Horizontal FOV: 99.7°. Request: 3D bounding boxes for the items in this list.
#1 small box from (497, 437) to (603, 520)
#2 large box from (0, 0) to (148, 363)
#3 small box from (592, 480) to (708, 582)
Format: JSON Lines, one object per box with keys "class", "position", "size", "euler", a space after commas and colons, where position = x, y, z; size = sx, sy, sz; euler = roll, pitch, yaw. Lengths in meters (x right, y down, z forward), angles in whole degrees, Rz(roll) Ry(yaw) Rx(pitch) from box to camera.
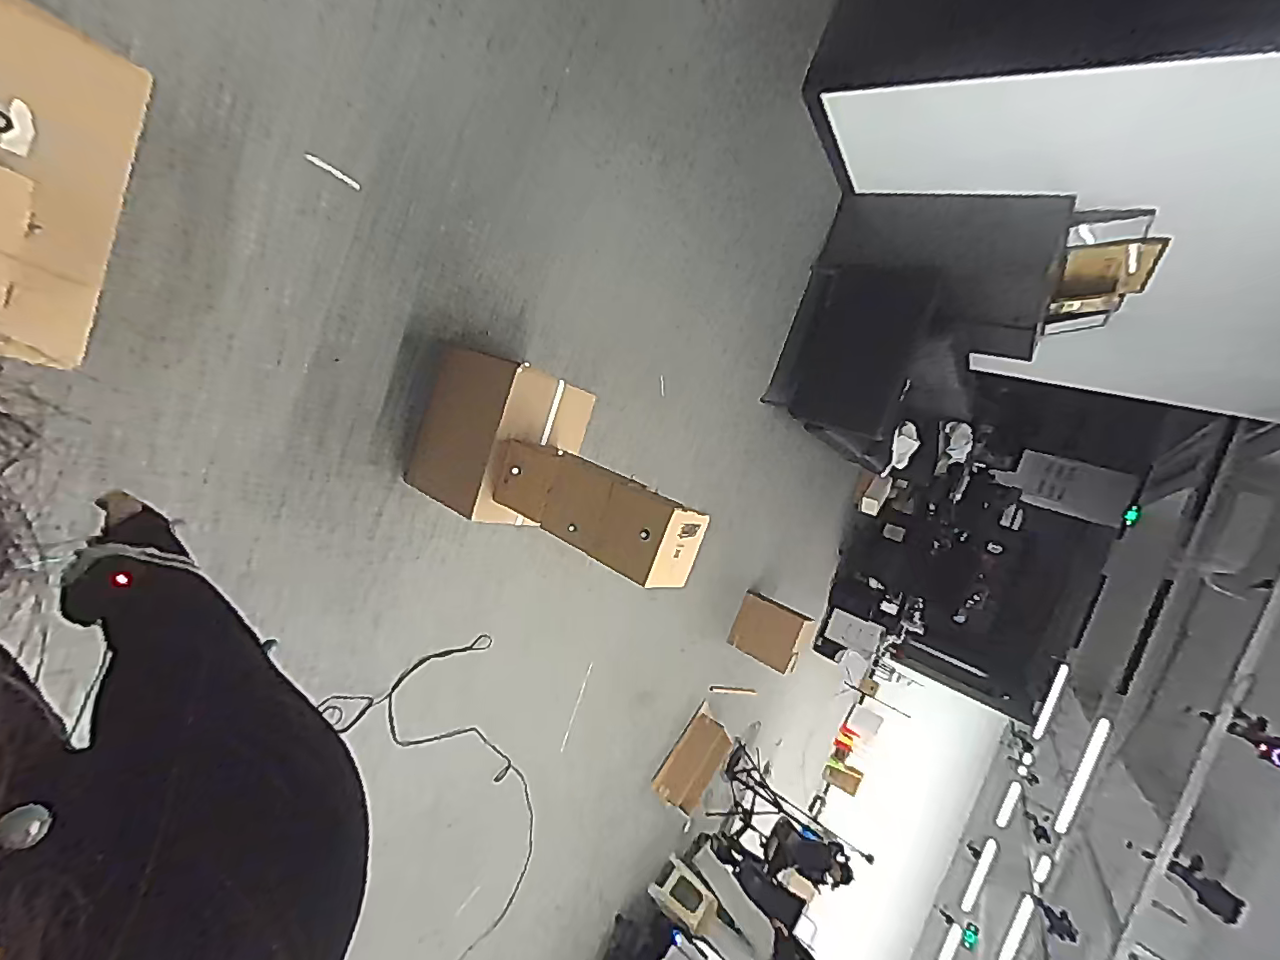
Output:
{"class": "small box", "position": [-0.232, -0.004, 1.385], "size": [0.179, 0.176, 0.168], "euler": [9, 101, -54]}
{"class": "large box", "position": [-0.891, -0.400, 0.673], "size": [0.320, 0.320, 0.408], "euler": [12, 98, -56]}
{"class": "small box", "position": [0.020, 0.112, 1.207], "size": [0.168, 0.176, 0.179], "euler": [15, 98, -55]}
